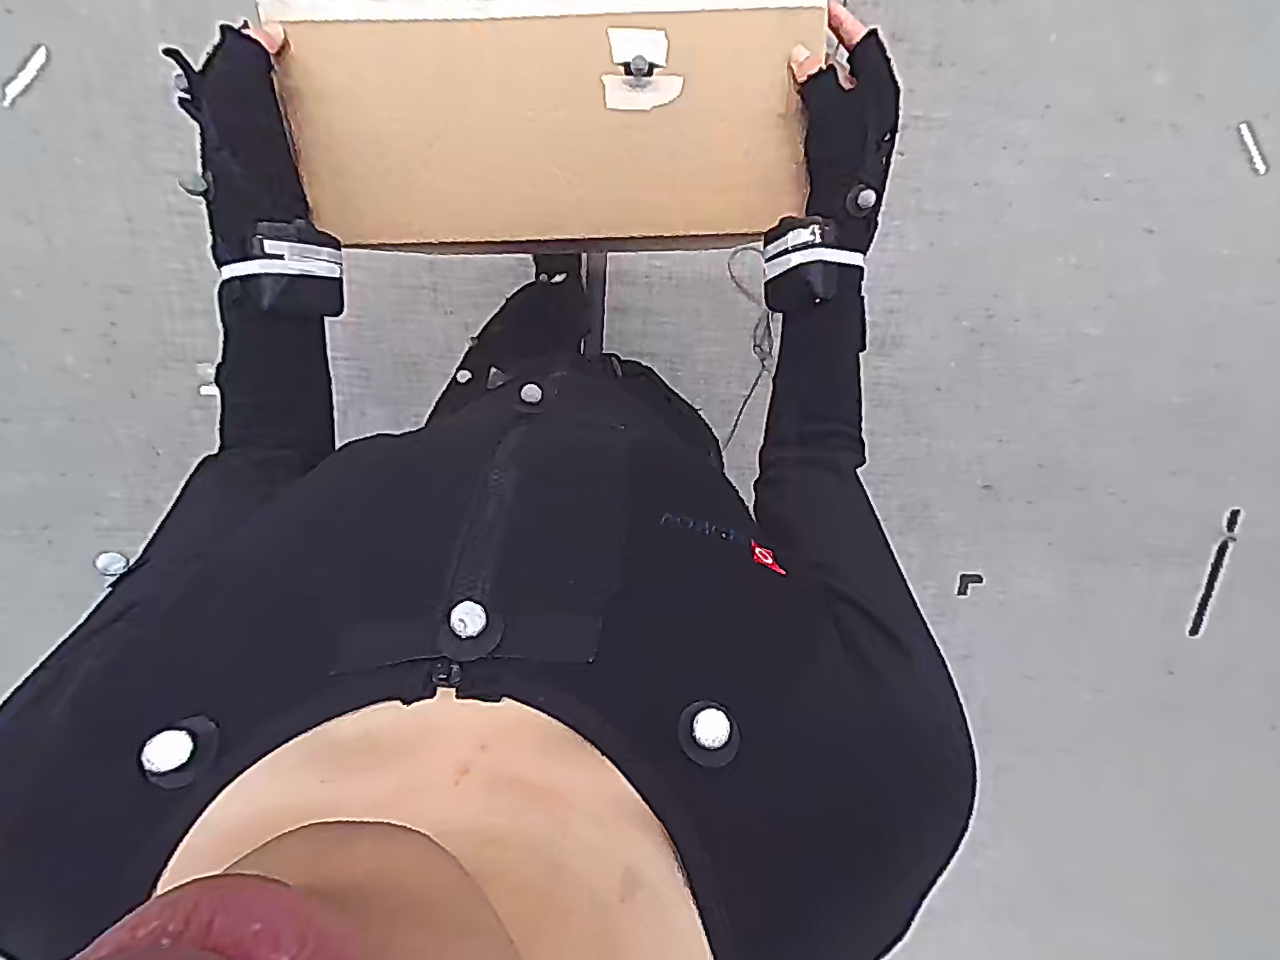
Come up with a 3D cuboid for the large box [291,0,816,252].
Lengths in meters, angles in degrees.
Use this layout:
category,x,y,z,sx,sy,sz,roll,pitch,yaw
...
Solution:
category,x,y,z,sx,sy,sz,roll,pitch,yaw
large box,-0.070,-0.413,0.546,0.408,0.320,0.320,-3,112,-2
